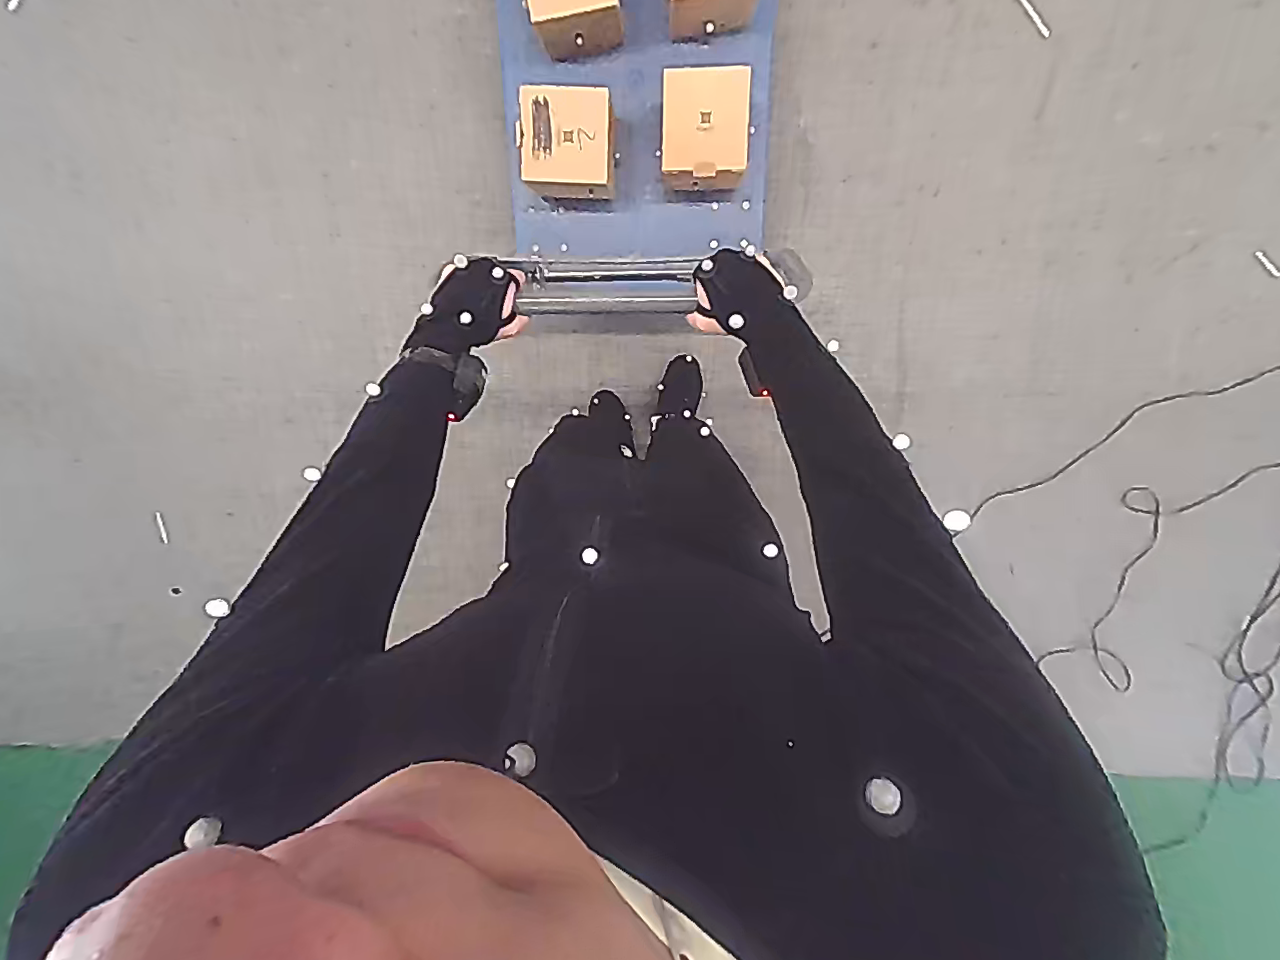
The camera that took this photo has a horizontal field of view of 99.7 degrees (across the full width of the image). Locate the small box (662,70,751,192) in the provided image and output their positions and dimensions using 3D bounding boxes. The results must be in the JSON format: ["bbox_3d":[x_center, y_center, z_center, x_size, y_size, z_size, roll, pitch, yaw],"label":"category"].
[{"bbox_3d":[0.128,-0.707,1.111,0.168,0.176,0.179,0,109,3],"label":"small box"}]

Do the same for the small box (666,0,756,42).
[{"bbox_3d":[0.128,-0.978,1.021,0.168,0.176,0.179,-6,108,6],"label":"small box"}]

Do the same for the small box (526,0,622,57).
[{"bbox_3d":[-0.130,-0.953,1.042,0.168,0.176,0.179,-7,108,5],"label":"small box"}]
